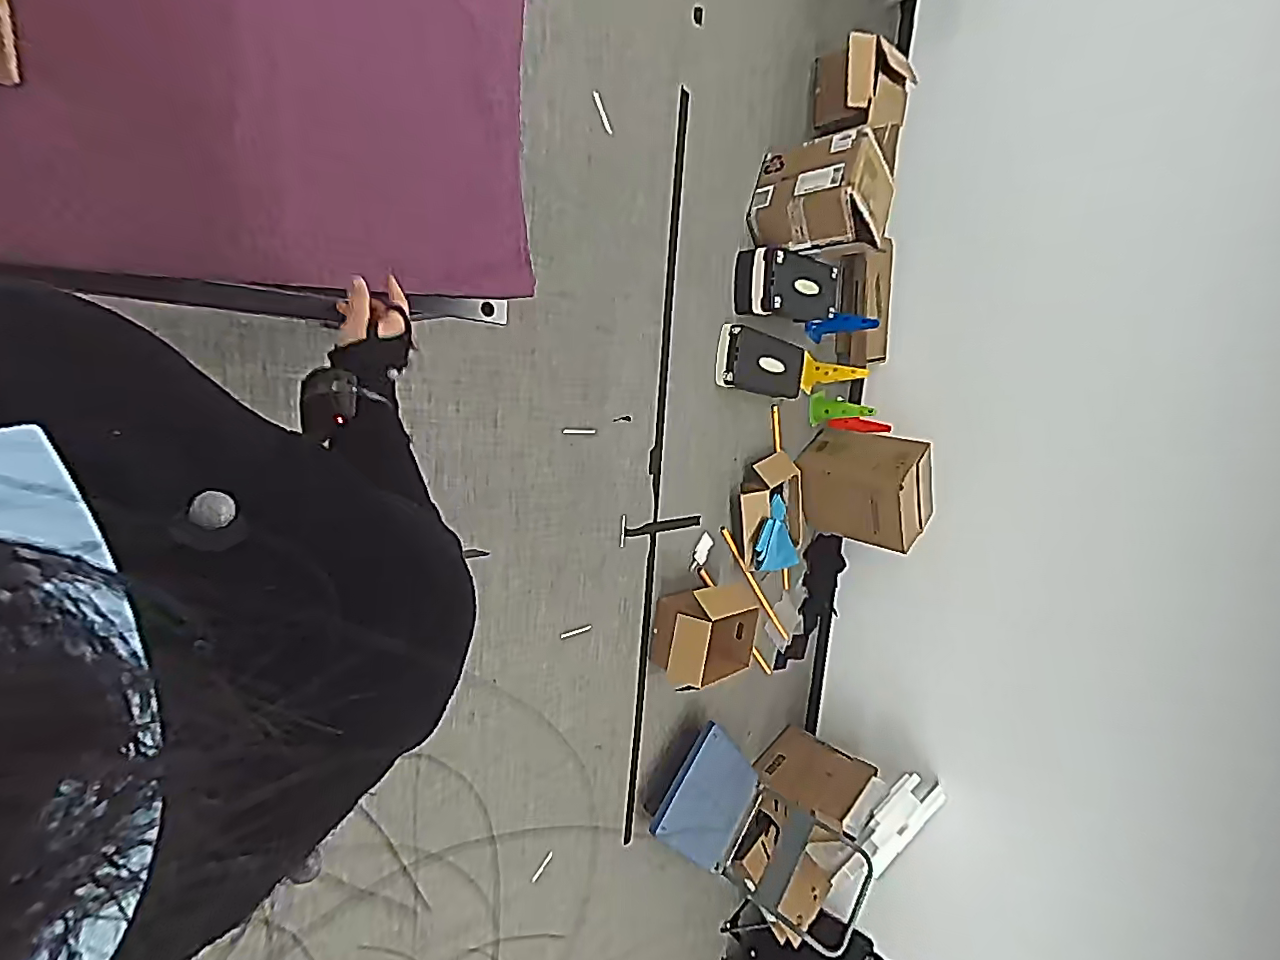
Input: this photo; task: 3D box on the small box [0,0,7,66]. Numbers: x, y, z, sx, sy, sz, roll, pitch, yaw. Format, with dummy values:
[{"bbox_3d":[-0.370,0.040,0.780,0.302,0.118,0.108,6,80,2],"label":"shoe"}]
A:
[{"bbox_3d":[-0.561,-0.432,0.362,0.168,0.176,0.179,-6,104,-47],"label":"small box"}]
